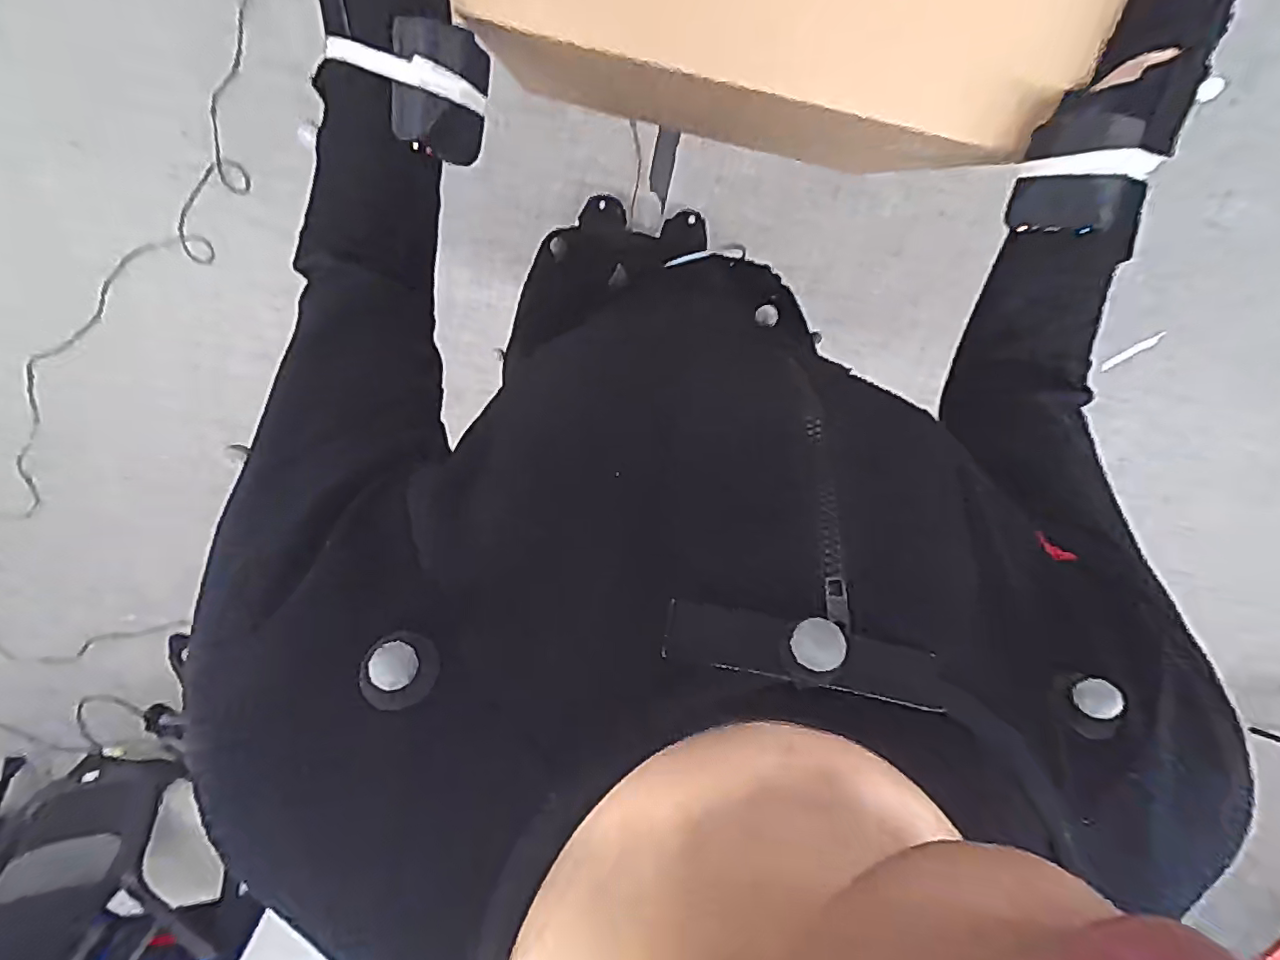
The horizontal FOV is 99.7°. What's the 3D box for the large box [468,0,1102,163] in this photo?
[{"bbox_3d":[0.102,-0.463,0.417,0.408,0.320,0.320,8,118,-9],"label":"large box"}]
